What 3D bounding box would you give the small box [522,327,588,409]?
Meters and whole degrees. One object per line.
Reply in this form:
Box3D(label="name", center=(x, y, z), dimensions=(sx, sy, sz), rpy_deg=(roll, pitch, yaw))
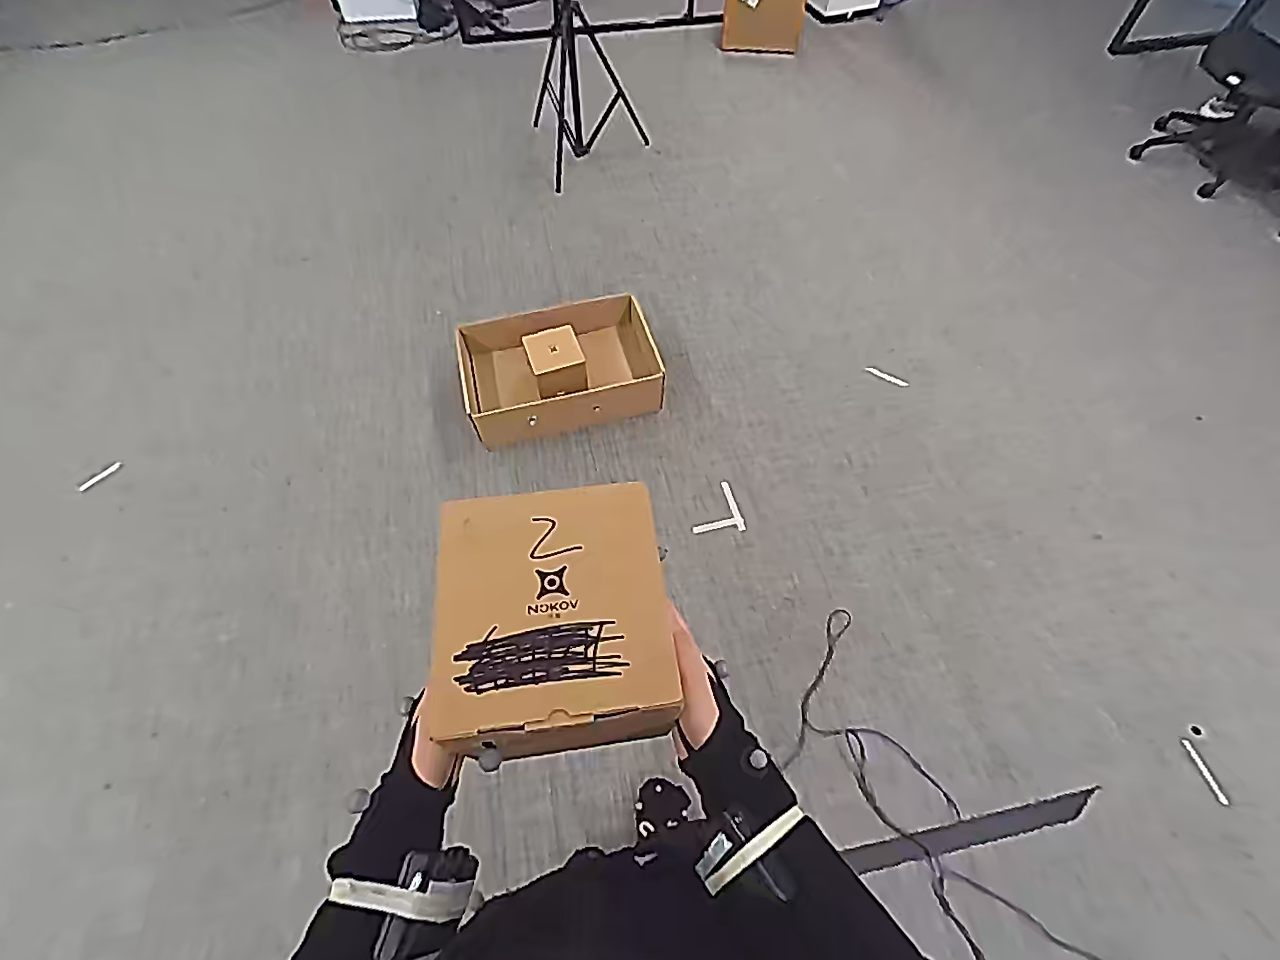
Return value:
Box3D(label="small box", center=(-0.277, -0.366, 1.776), dimensions=(0.168, 0.176, 0.179), rpy_deg=(-19, 62, -10))
